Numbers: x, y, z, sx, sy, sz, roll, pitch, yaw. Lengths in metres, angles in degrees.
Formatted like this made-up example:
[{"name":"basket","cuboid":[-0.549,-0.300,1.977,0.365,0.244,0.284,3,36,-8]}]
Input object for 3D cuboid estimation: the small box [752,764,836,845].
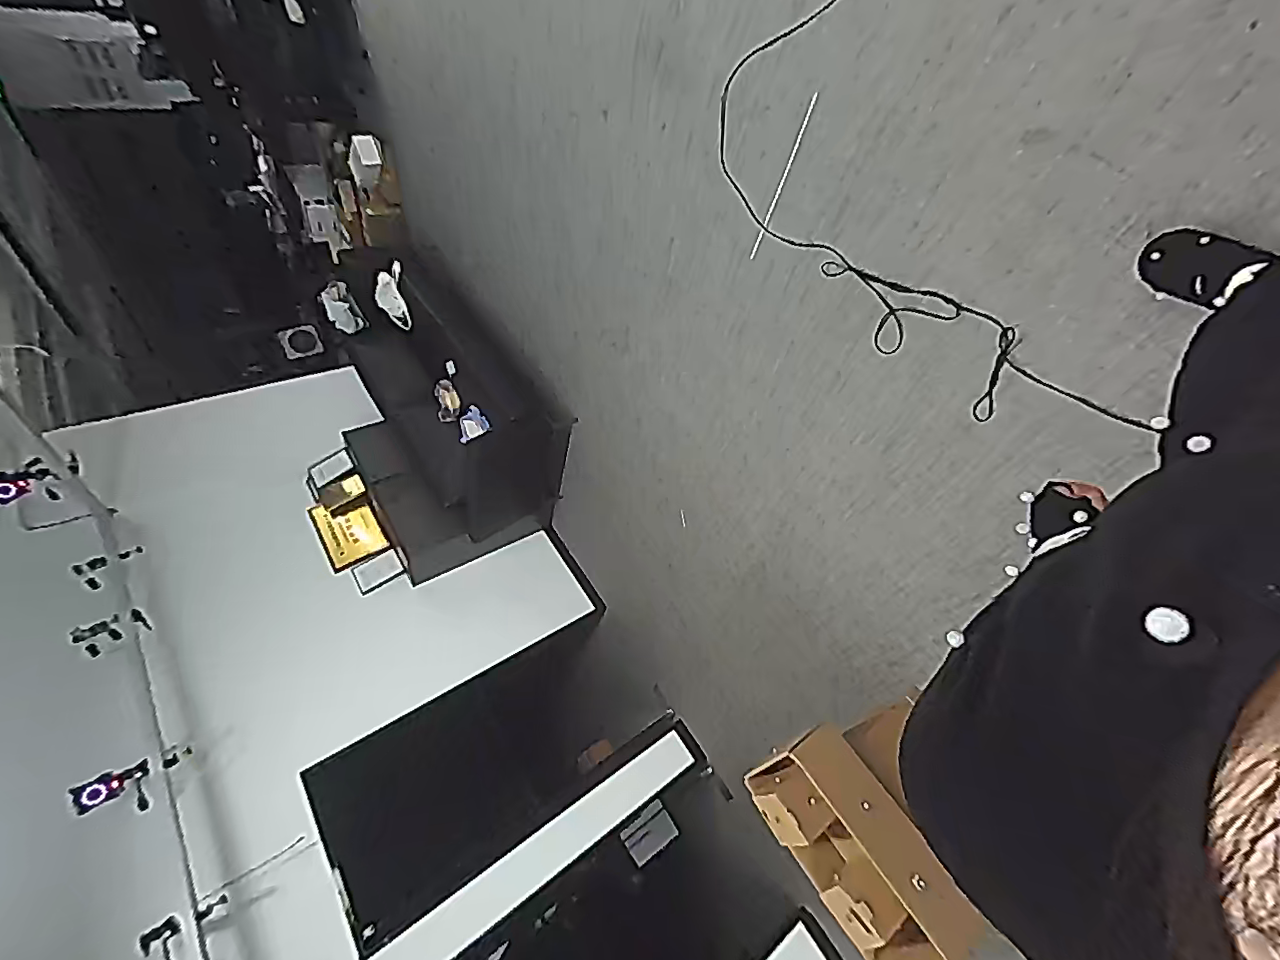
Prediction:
[{"name":"small box","cuboid":[0.505,1.052,1.760,0.168,0.176,0.179,56,147,19]}]
